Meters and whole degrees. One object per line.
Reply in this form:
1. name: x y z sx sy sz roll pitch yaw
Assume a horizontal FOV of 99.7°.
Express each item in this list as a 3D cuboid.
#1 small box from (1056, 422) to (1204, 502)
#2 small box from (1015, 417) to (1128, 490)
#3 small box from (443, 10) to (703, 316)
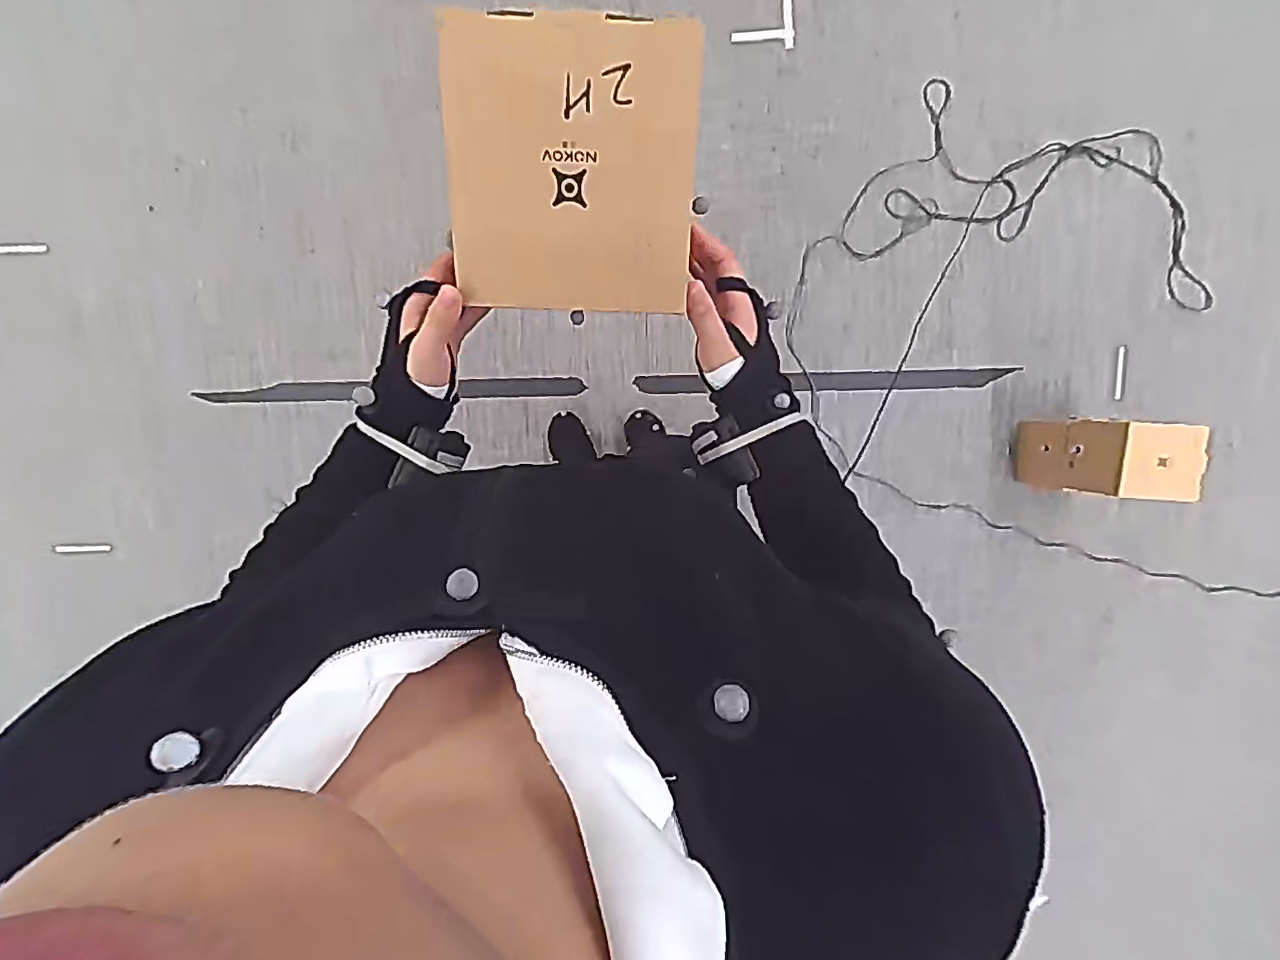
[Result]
1. small box: 1.114 -0.047 1.242 0.179 0.176 0.168 3 96 1
2. small box: 1.111 -0.070 1.404 0.168 0.176 0.179 -2 96 0
3. small box: -0.045 -0.232 0.439 0.168 0.176 0.179 2 109 -1
